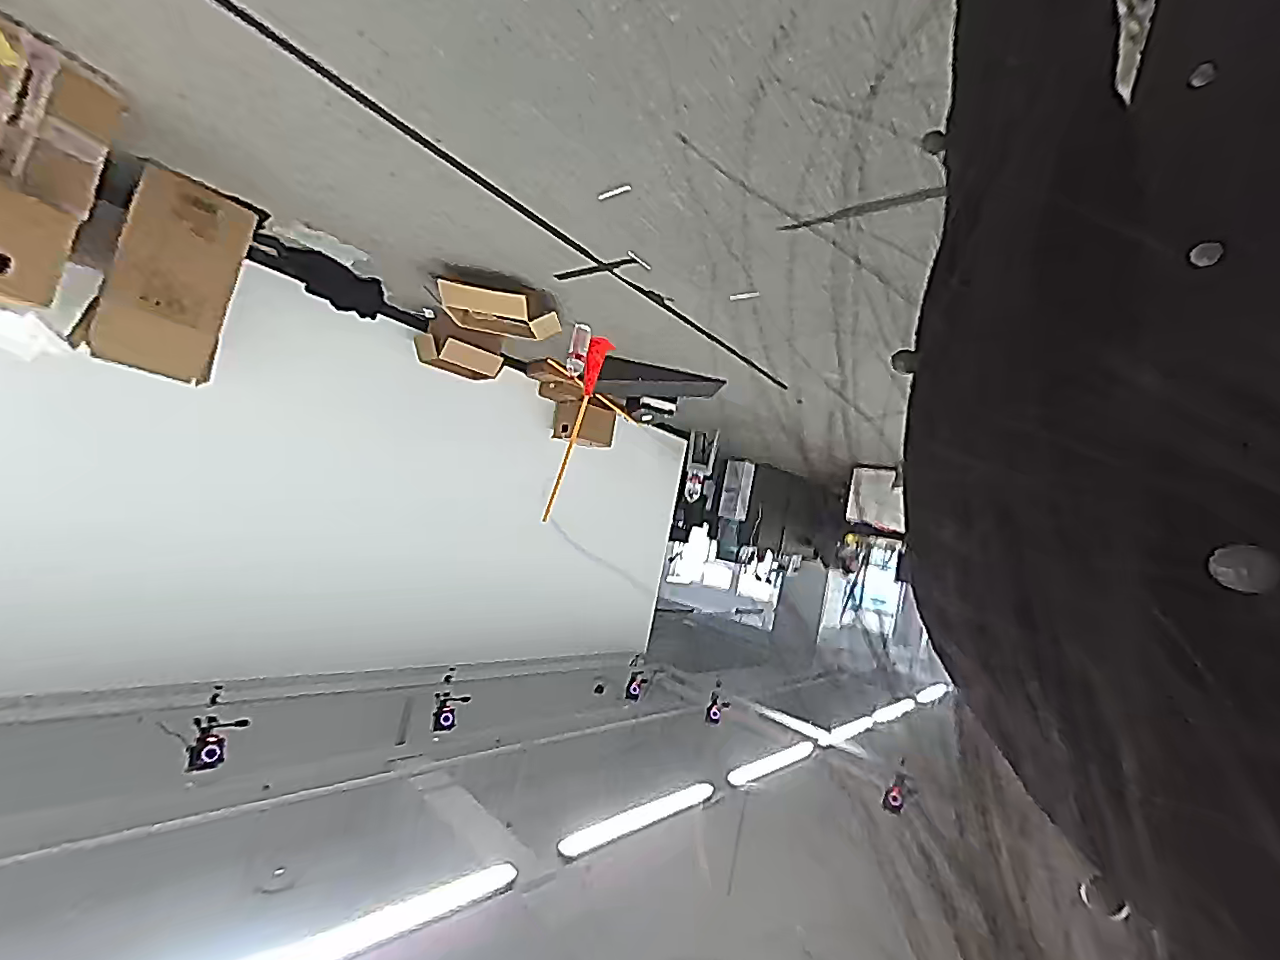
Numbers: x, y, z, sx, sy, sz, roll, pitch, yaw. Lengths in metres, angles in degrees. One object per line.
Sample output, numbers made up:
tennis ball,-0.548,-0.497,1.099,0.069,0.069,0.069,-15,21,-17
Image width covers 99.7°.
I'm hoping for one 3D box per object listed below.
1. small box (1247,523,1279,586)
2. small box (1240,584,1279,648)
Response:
small box,1.813,0.219,1.487,0.168,0.176,0.179,7,174,44
small box,1.785,0.379,1.475,0.179,0.176,0.168,6,175,45
